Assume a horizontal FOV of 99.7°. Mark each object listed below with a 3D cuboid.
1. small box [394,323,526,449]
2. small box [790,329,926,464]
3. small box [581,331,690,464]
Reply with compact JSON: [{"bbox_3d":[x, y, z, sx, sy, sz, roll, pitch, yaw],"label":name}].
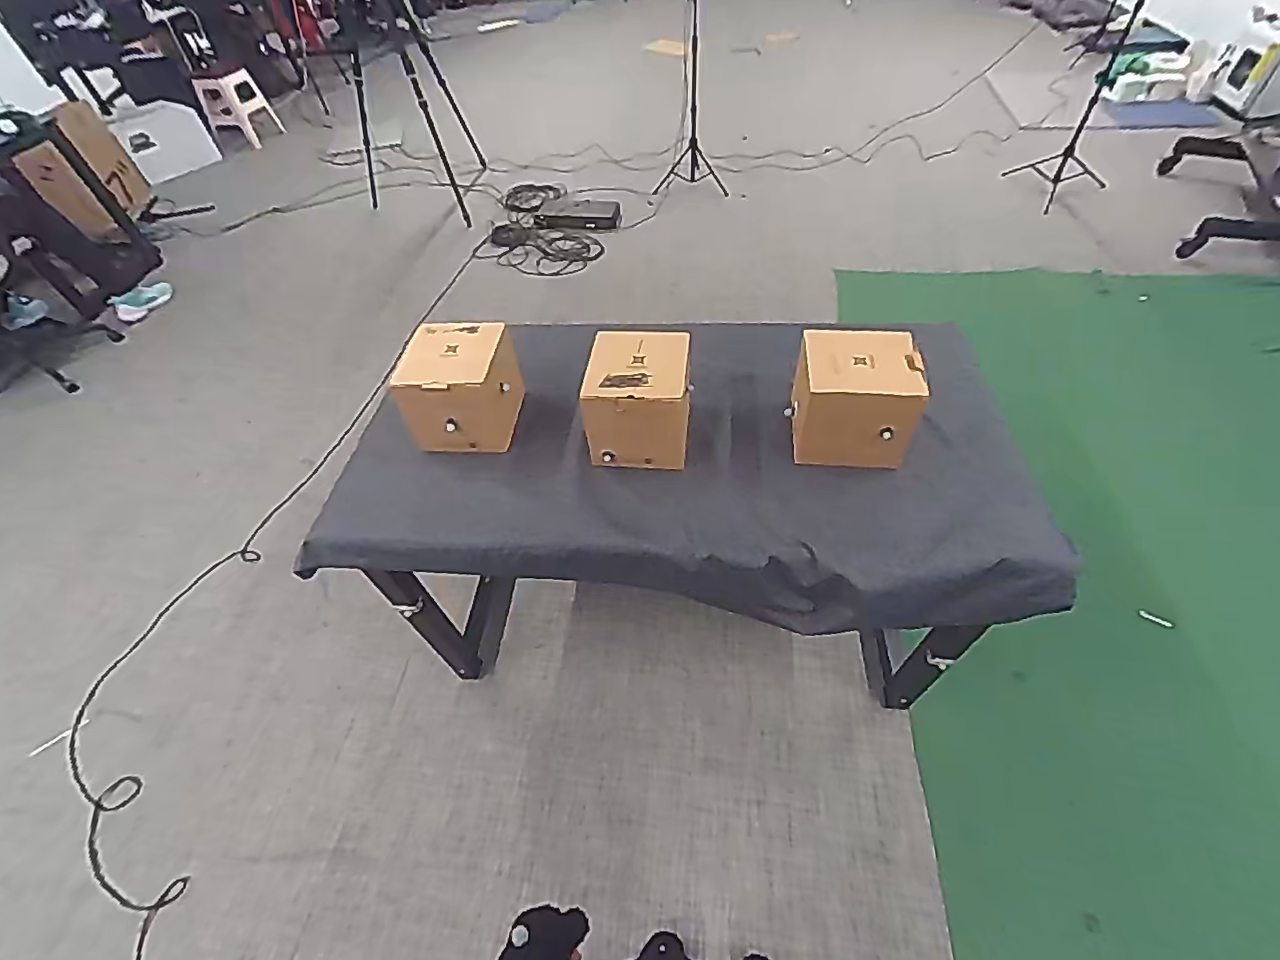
[{"bbox_3d":[-0.324,-0.172,1.018,0.168,0.176,0.179,1,52,6],"label":"small box"},{"bbox_3d":[0.361,-0.141,0.930,0.179,0.176,0.168,2,50,9],"label":"small box"},{"bbox_3d":[0.002,-0.144,0.965,0.168,0.176,0.179,3,50,8],"label":"small box"}]
